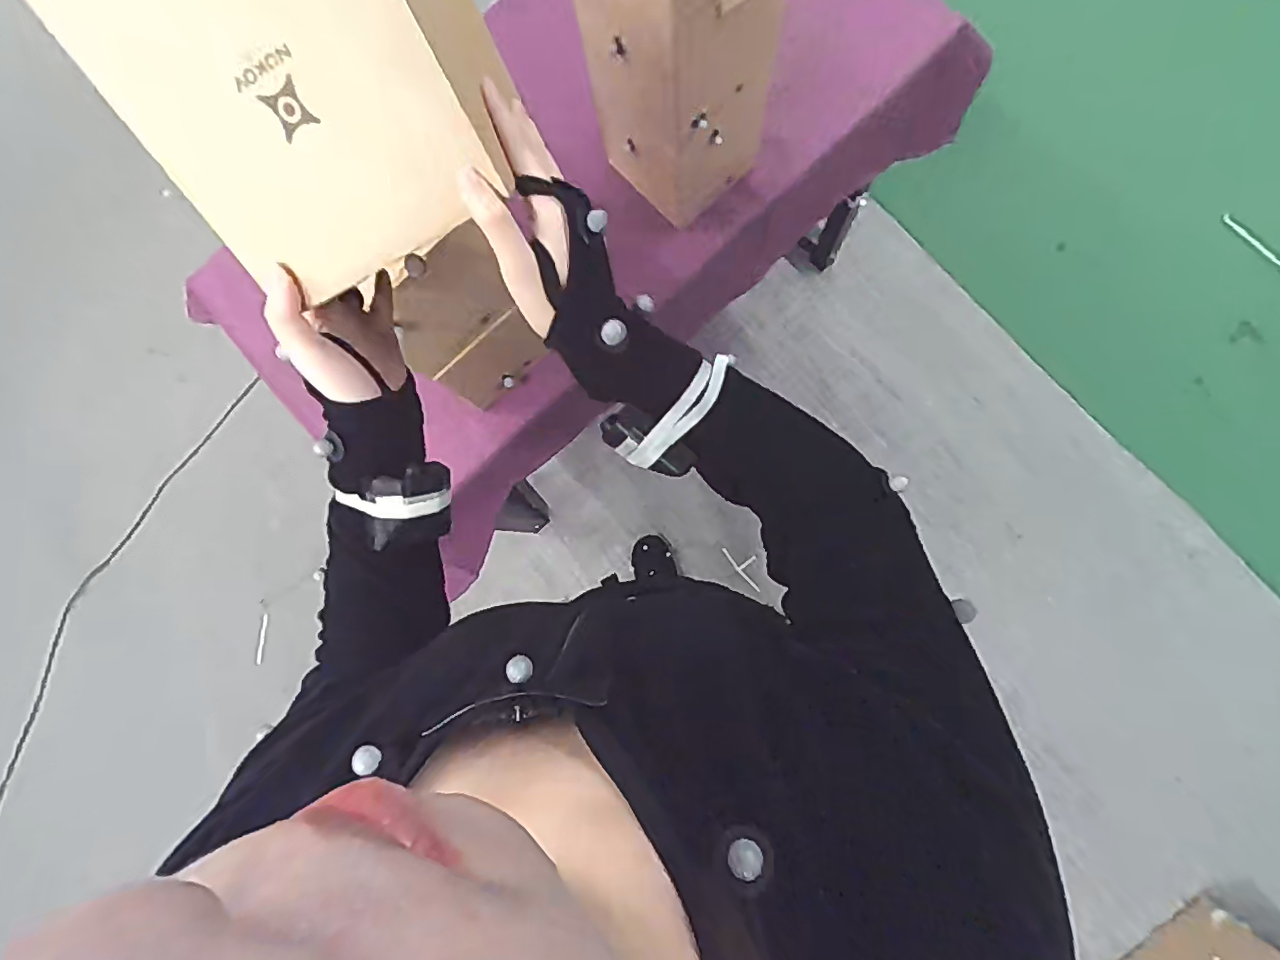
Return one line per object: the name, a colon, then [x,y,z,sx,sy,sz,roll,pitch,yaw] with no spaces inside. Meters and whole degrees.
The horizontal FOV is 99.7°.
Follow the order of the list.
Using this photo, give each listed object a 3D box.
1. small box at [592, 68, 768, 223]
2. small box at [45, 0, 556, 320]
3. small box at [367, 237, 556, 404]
small box: [0.058,-0.521,0.788,0.168,0.176,0.179,-42,80,1]
small box: [-0.170,-0.236,0.342,0.168,0.176,0.179,-20,122,15]
small box: [-0.250,-0.236,0.784,0.168,0.176,0.179,-41,82,0]
